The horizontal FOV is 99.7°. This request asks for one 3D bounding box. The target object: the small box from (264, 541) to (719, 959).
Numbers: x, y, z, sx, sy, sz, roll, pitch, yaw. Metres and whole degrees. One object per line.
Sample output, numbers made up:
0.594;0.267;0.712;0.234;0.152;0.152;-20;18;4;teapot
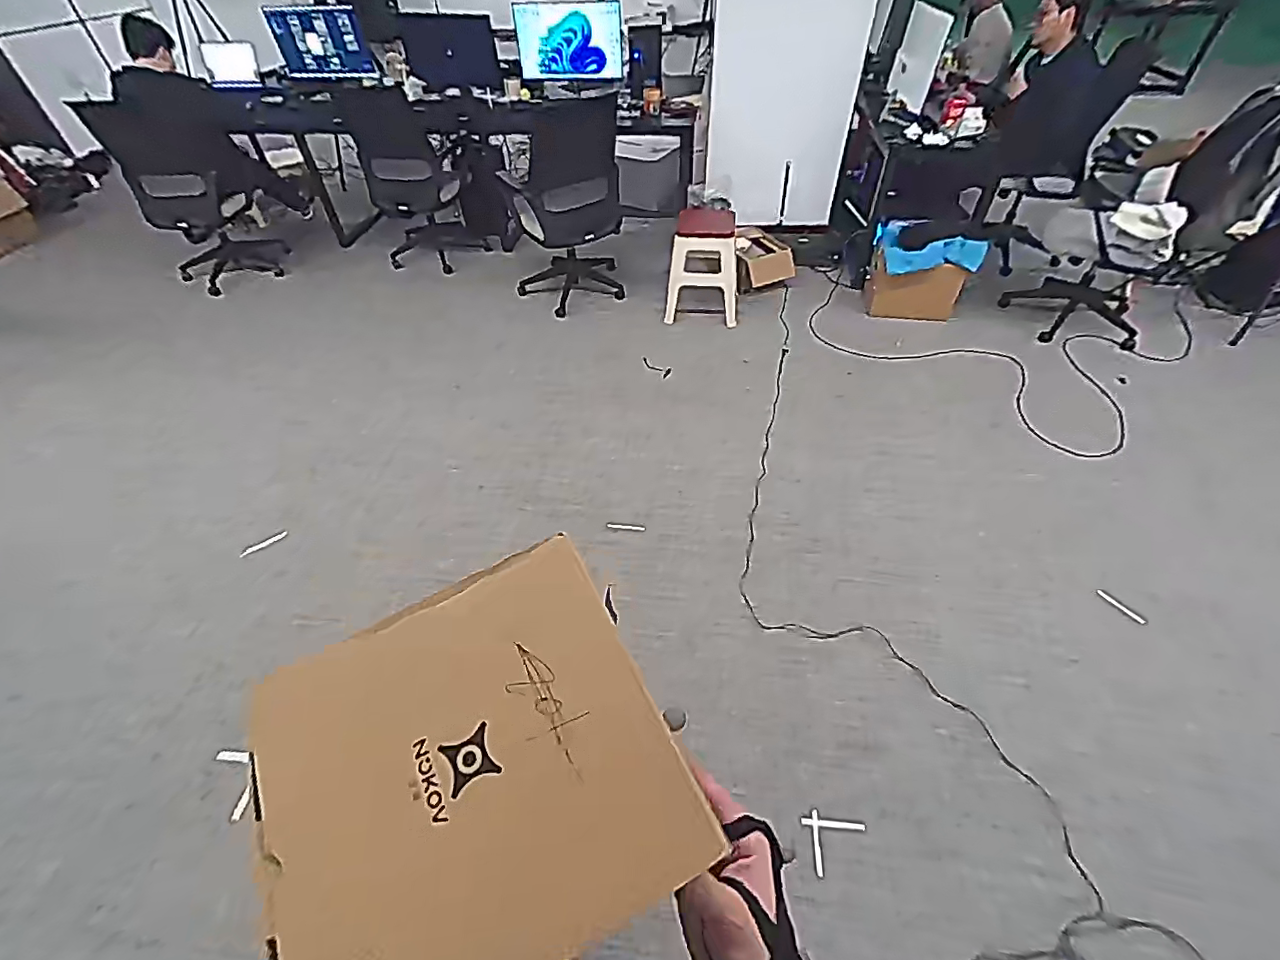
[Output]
-0.071;0.172;0.319;0.179;0.176;0.168;-27;61;-12;small box
